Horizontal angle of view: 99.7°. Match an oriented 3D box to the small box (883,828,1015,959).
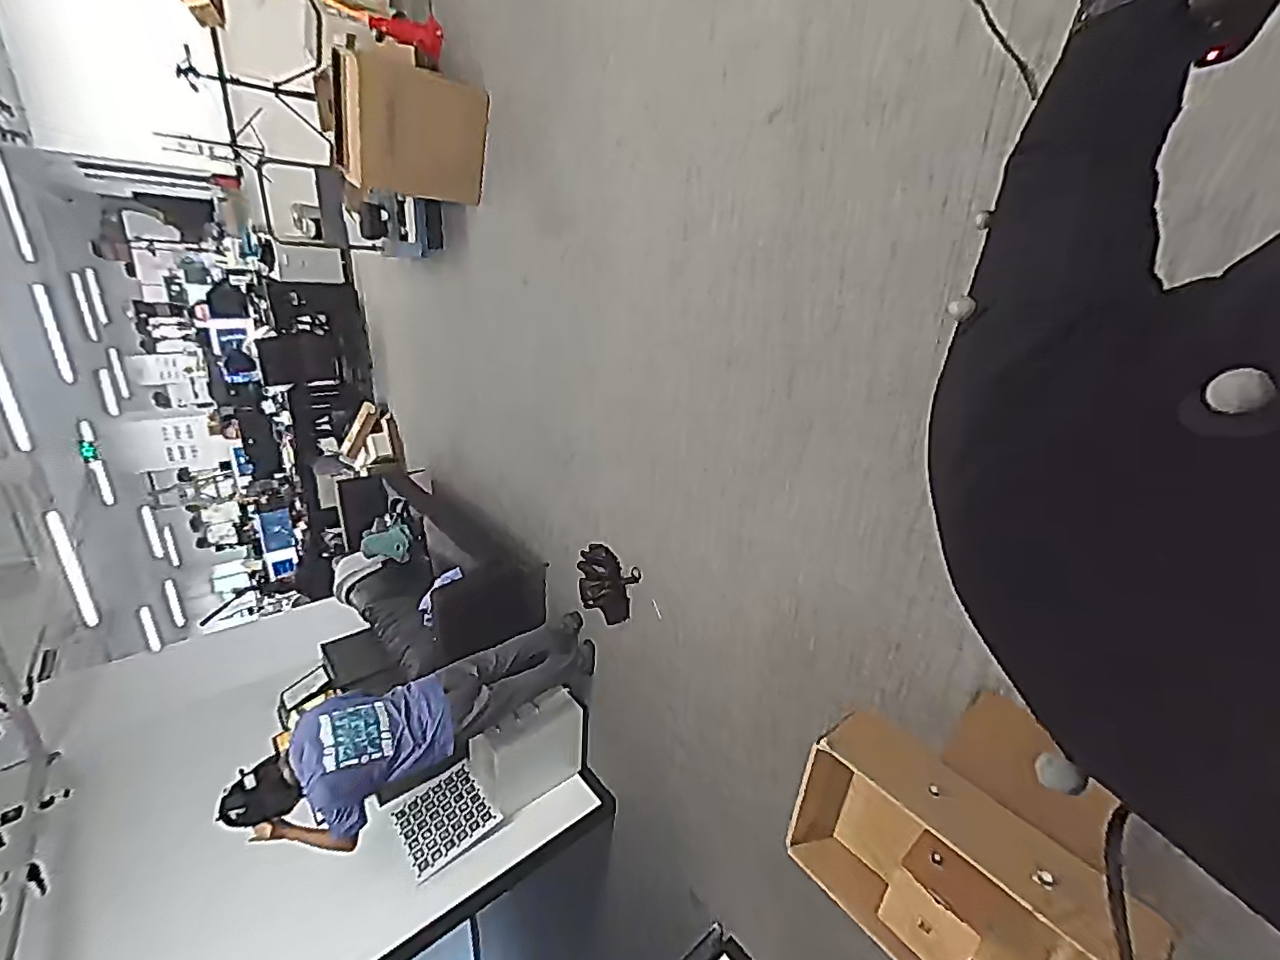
[{"bbox_3d":[0.637,0.873,1.115,0.168,0.176,0.179,29,125,46],"label":"small box"}]
